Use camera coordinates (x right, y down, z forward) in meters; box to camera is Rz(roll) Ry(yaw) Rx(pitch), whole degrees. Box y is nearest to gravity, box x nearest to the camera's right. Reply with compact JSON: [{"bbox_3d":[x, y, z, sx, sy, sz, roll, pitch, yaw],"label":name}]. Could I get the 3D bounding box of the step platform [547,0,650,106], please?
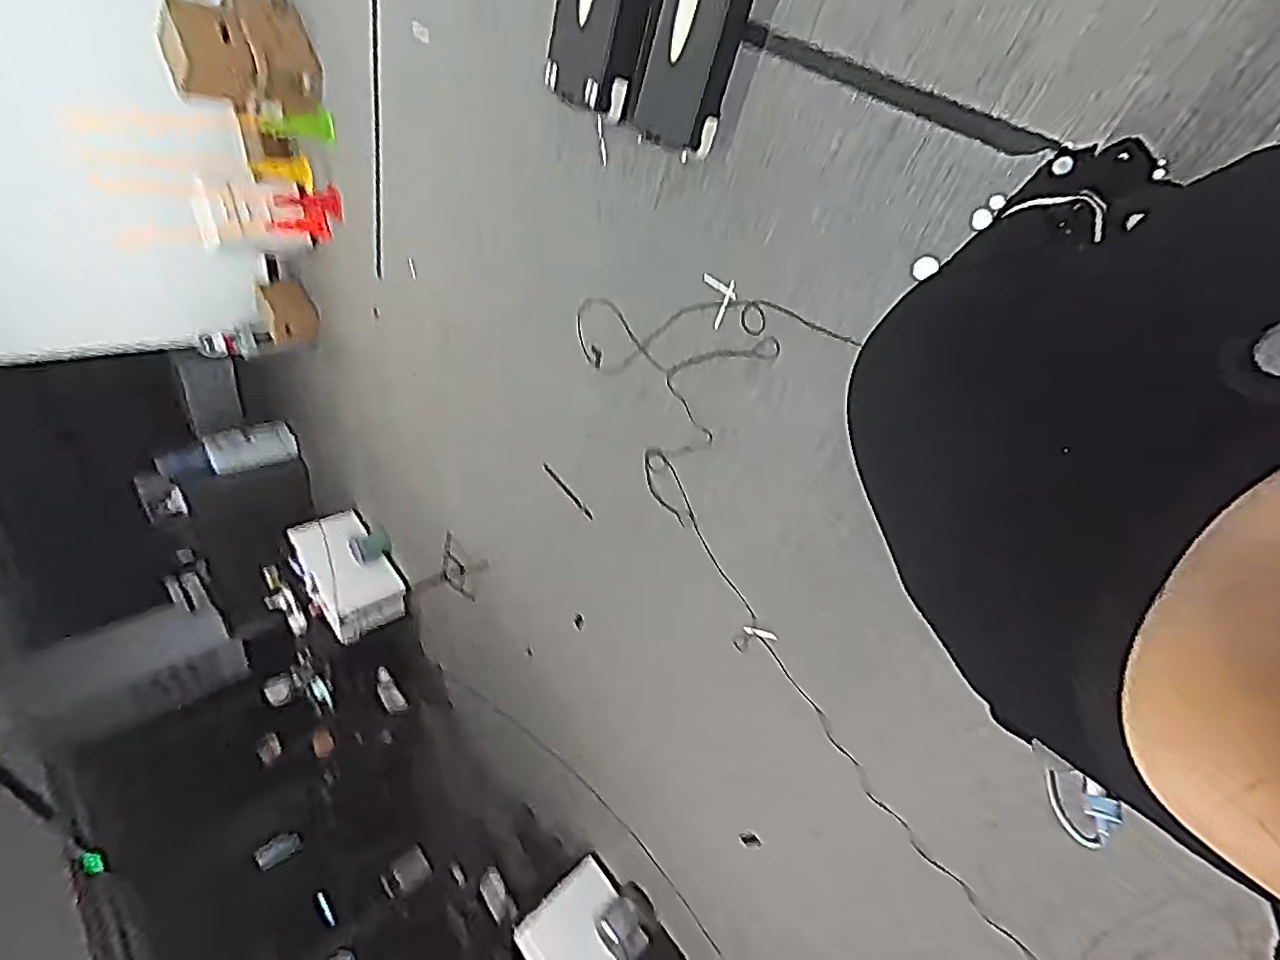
[{"bbox_3d":[-0.059,-1.486,1.521,0.286,0.204,0.684,42,132,25],"label":"step platform"}]
